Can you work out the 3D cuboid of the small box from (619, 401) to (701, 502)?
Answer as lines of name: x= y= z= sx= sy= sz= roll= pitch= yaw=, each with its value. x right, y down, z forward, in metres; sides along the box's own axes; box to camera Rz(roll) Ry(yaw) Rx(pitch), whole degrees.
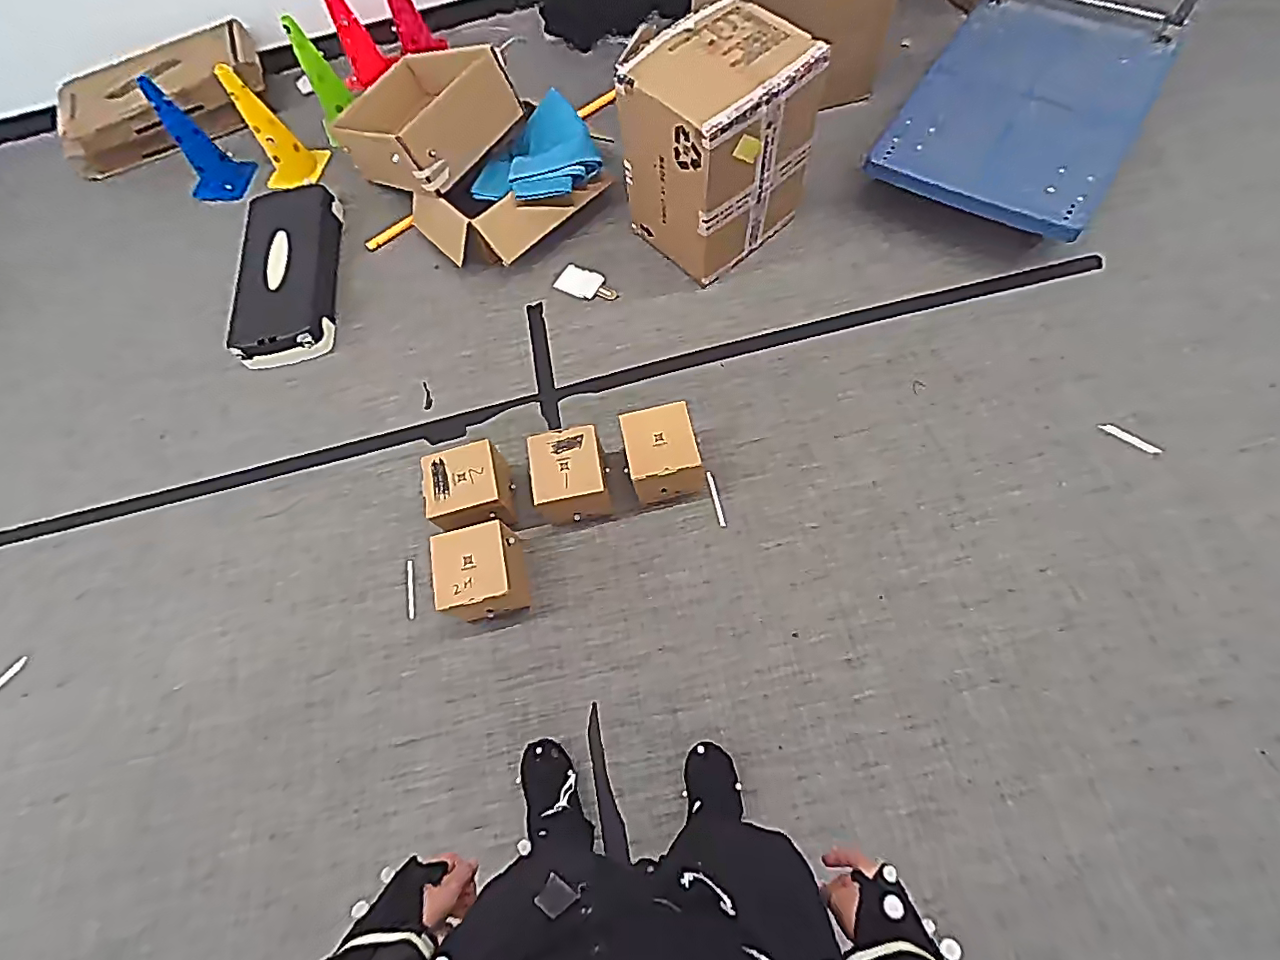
small box: x=0.050 y=-0.067 z=1.337 sx=0.168 sy=0.176 sz=0.179 roll=-13 pitch=68 yaw=0

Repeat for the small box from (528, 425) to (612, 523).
small box: x=-0.170 y=-0.010 z=1.334 sx=0.168 sy=0.176 sz=0.179 roll=-11 pitch=68 yaw=1

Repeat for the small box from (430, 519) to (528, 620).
small box: x=-0.371 y=0.213 z=1.264 sx=0.168 sy=0.176 sz=0.179 roll=-14 pitch=67 yaw=1
